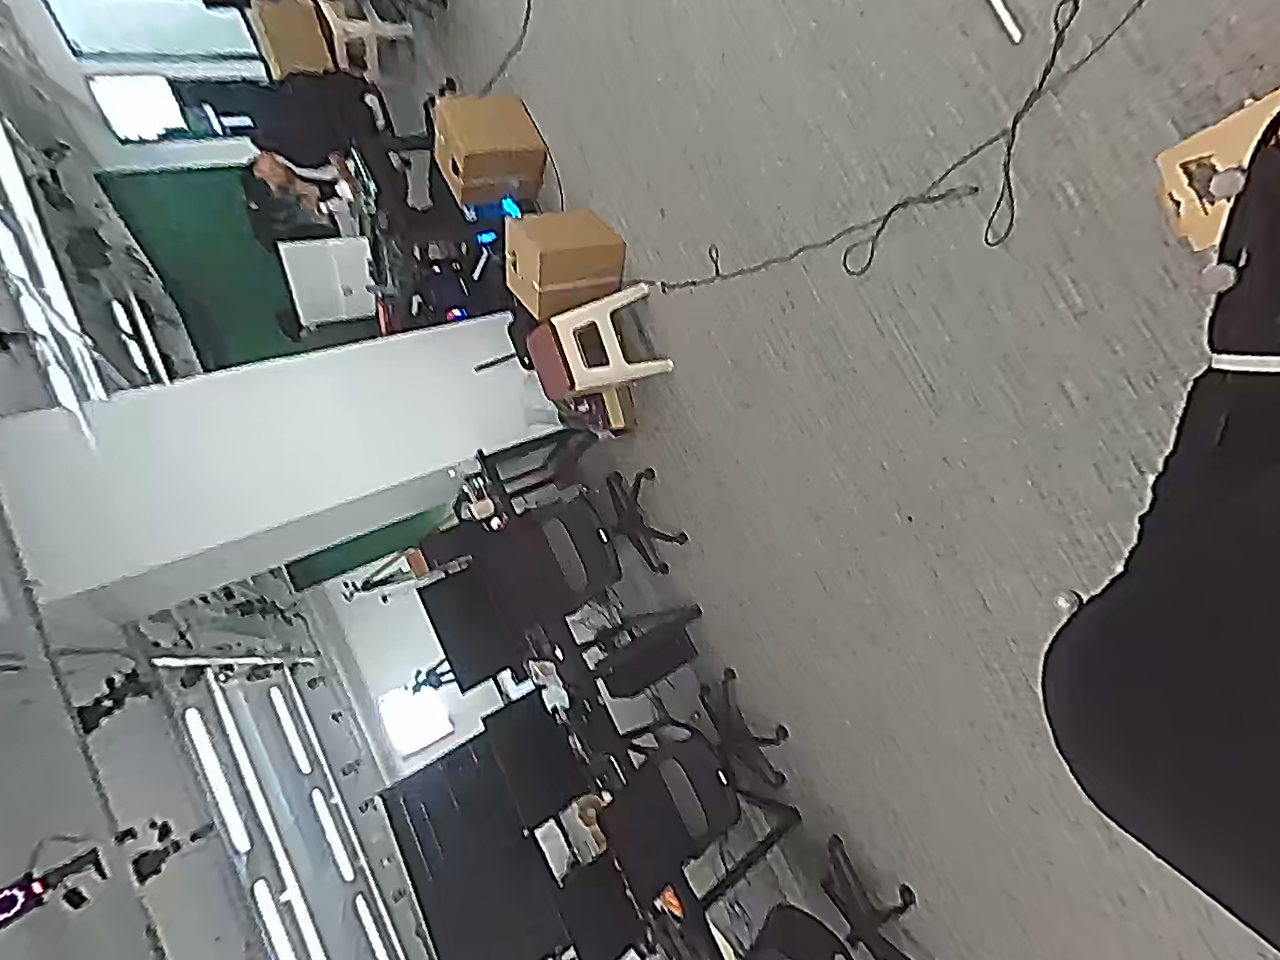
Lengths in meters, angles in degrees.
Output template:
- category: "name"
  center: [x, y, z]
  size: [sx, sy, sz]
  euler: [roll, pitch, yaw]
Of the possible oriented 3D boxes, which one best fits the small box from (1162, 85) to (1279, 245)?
- category: "small box"
  center: [0.935, -0.475, 0.795]
  size: [0.179, 0.176, 0.168]
  euler: [-21, 93, 60]
